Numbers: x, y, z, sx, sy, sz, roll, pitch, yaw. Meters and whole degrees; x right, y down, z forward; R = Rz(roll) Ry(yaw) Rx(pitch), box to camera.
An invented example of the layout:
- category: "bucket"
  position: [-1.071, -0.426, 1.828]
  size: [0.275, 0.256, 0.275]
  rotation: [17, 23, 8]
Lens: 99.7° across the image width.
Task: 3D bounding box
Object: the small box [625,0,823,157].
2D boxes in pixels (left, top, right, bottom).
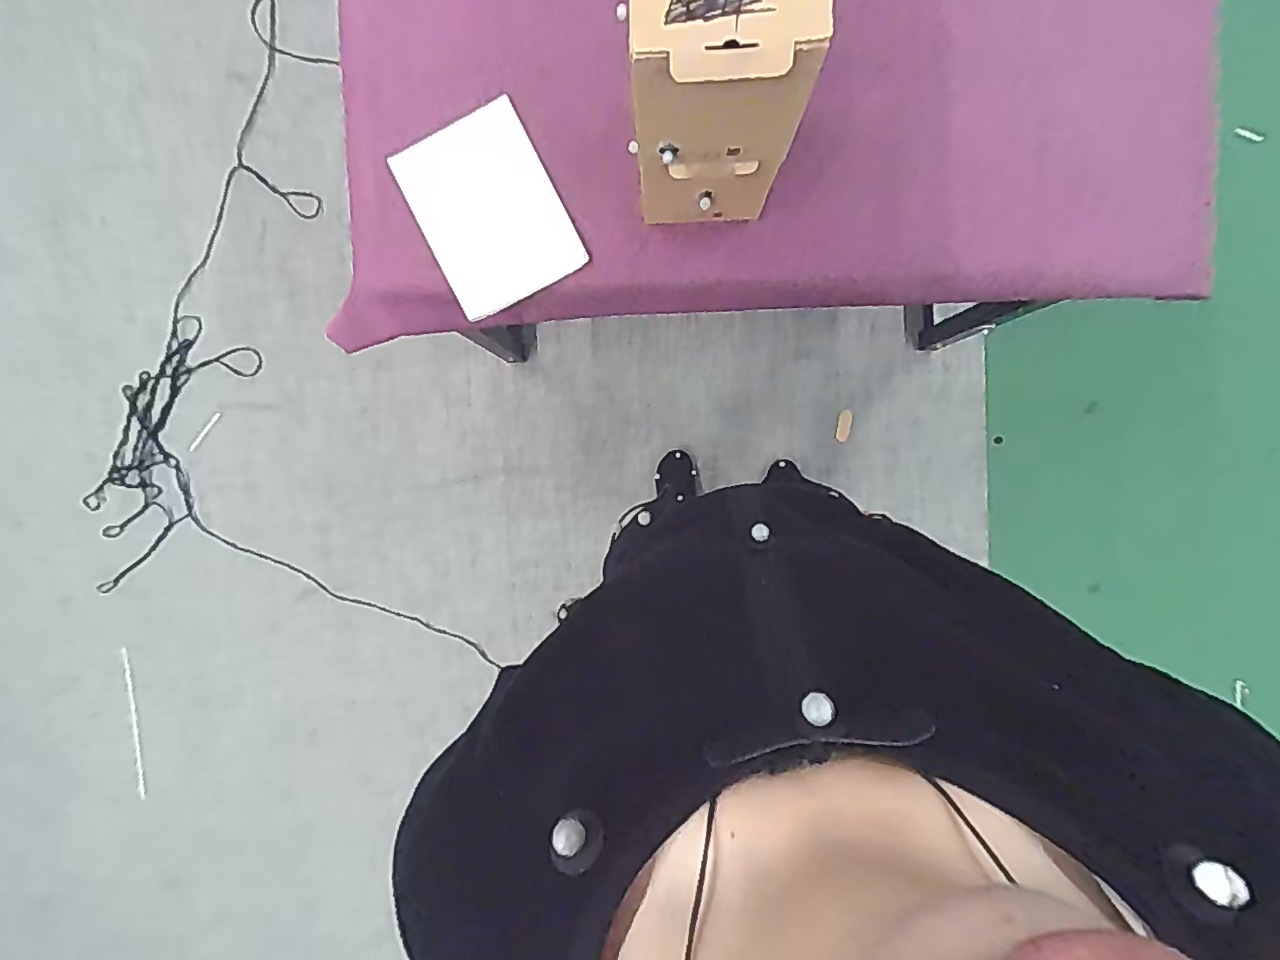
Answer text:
- category: "small box"
  position: [0.073, -0.442, 0.526]
  size: [0.168, 0.176, 0.179]
  rotation: [-1, 91, 2]

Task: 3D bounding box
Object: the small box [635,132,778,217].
- category: "small box"
  position: [0.080, -0.453, 0.692]
  size: [0.168, 0.176, 0.179]
  rotation: [-1, 93, 2]
